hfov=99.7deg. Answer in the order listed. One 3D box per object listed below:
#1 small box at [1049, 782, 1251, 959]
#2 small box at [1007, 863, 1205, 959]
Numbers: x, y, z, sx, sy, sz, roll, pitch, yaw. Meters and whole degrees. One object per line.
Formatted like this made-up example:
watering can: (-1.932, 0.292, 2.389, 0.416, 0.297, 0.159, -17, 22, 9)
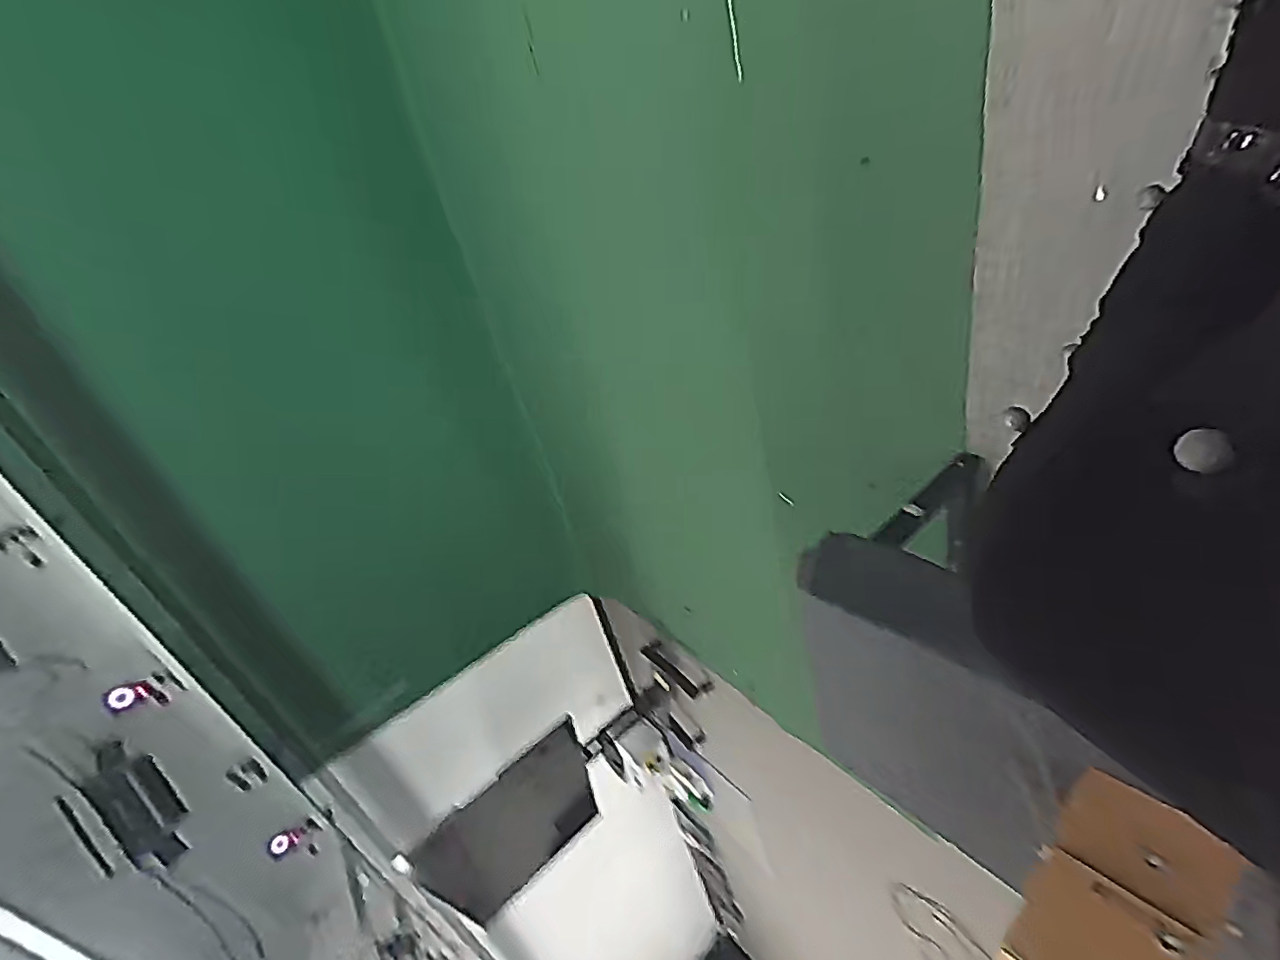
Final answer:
small box: (0.728, 0.585, 0.777, 0.179, 0.176, 0.168, 16, 132, 55)
small box: (0.598, 0.653, 0.696, 0.168, 0.176, 0.179, 20, 135, 52)
